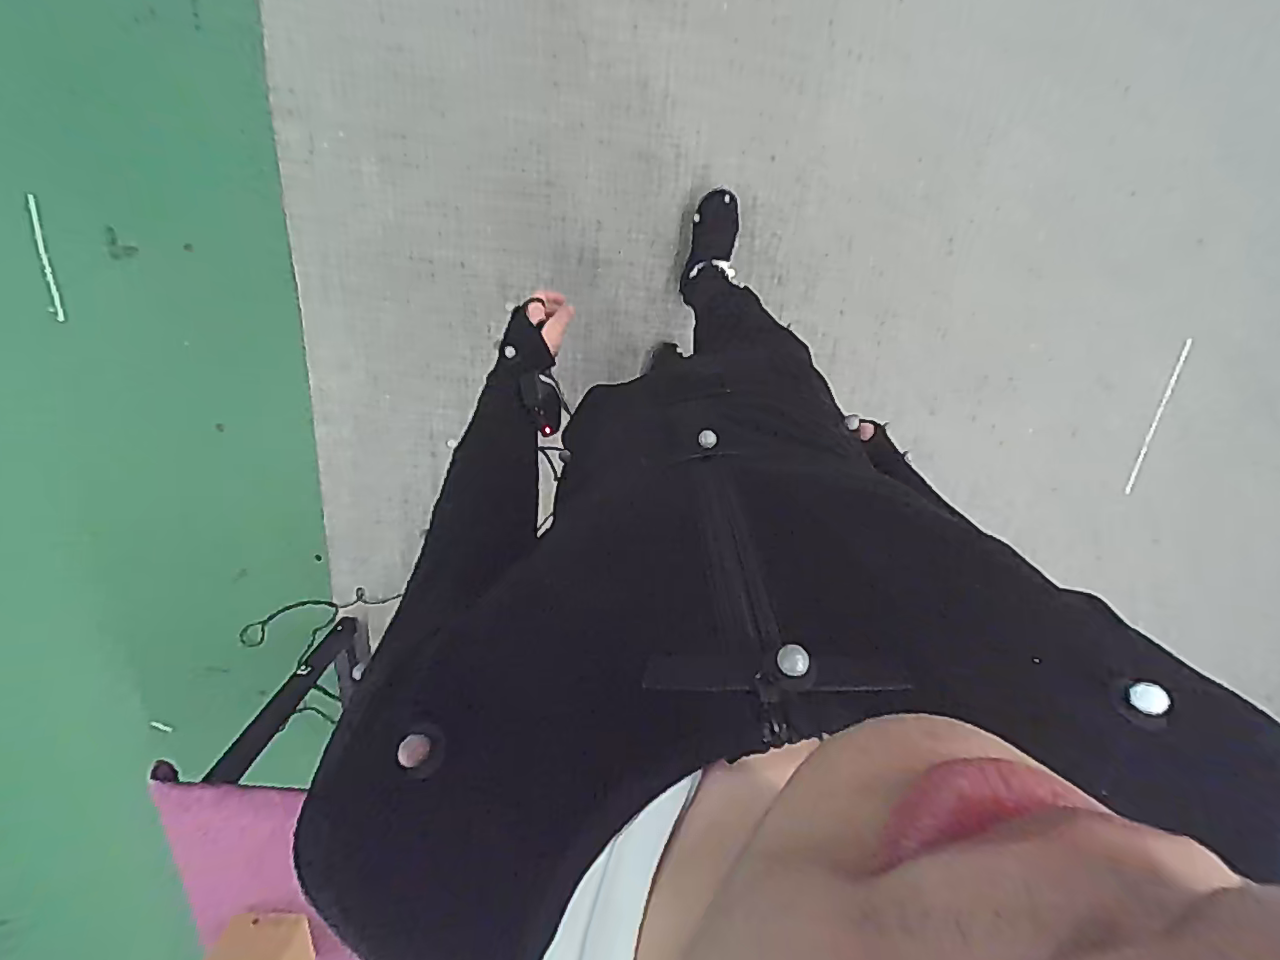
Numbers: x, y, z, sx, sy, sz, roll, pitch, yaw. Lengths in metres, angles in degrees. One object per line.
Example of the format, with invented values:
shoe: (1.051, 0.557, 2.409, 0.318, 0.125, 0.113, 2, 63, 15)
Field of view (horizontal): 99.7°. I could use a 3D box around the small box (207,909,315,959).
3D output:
small box: (-0.865, 1.116, 1.219, 0.168, 0.176, 0.179, 3, 110, -2)
